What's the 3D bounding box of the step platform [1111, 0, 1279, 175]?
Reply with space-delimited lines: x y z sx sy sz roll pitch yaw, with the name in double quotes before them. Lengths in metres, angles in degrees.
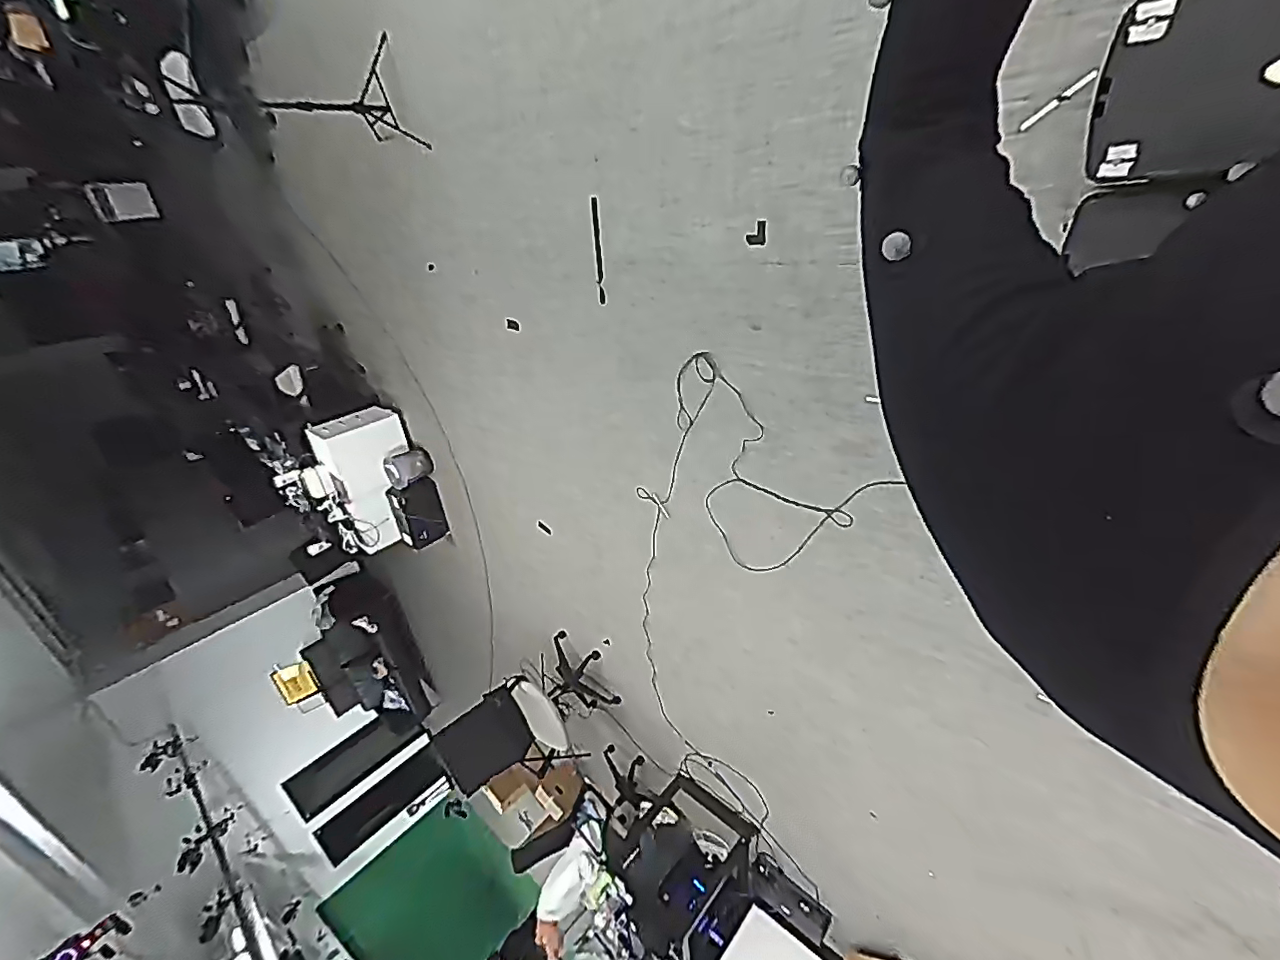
"step platform" 1.146 -0.643 0.790 0.684 0.204 0.286 17 126 39
